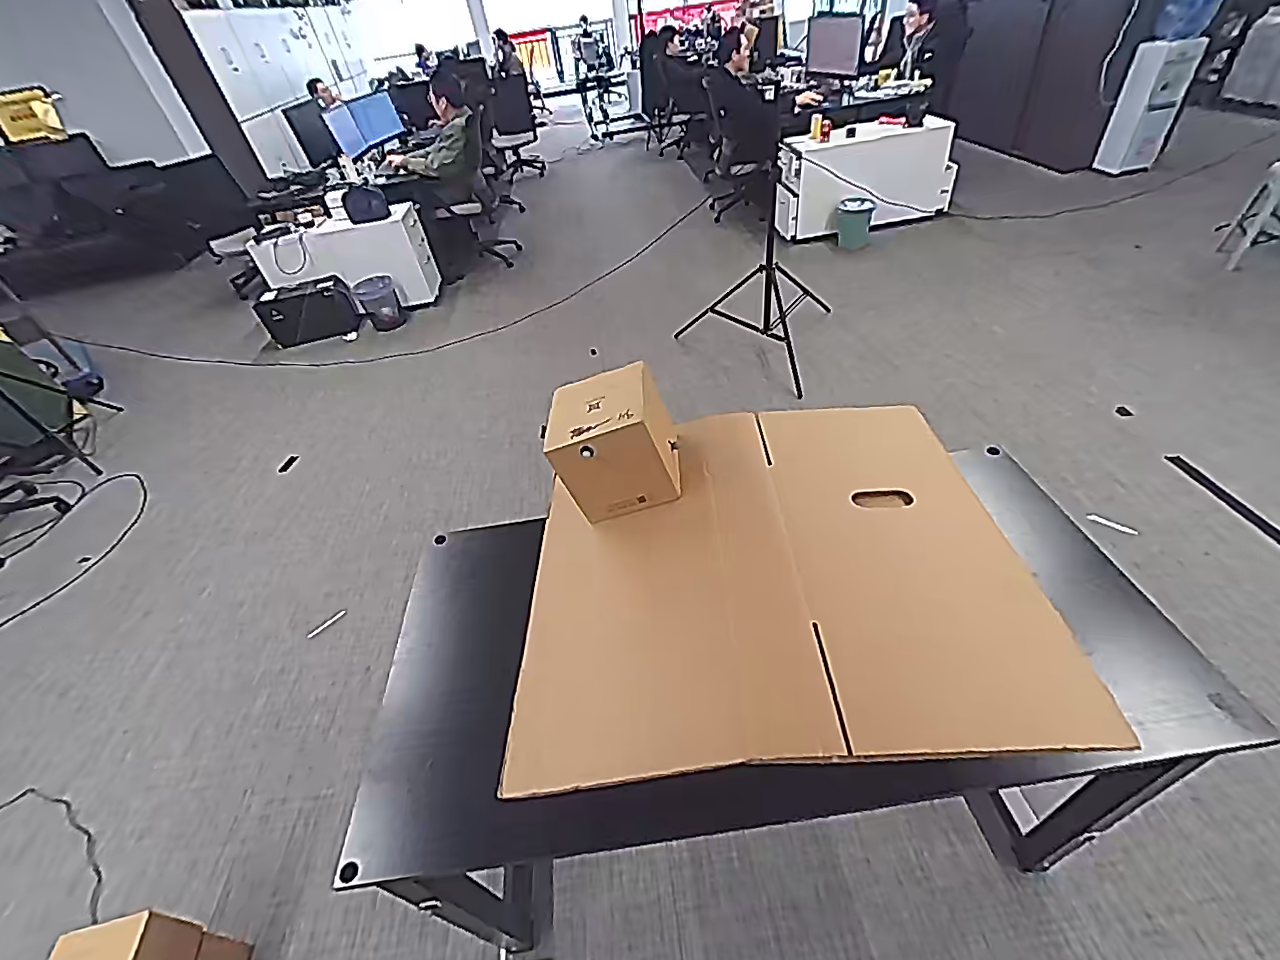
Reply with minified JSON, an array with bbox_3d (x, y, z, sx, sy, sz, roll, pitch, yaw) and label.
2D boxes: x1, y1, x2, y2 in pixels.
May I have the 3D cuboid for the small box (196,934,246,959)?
[{"bbox_3d":[-0.969,1.091,1.127,0.168,0.176,0.179,-12,42,-3],"label":"small box"}]

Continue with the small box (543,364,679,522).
[{"bbox_3d":[-0.040,-0.059,0.901,0.168,0.176,0.179,-17,39,14],"label":"small box"}]

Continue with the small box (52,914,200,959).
[{"bbox_3d":[-0.992,0.967,1.024,0.168,0.176,0.179,-13,41,-5],"label":"small box"}]
